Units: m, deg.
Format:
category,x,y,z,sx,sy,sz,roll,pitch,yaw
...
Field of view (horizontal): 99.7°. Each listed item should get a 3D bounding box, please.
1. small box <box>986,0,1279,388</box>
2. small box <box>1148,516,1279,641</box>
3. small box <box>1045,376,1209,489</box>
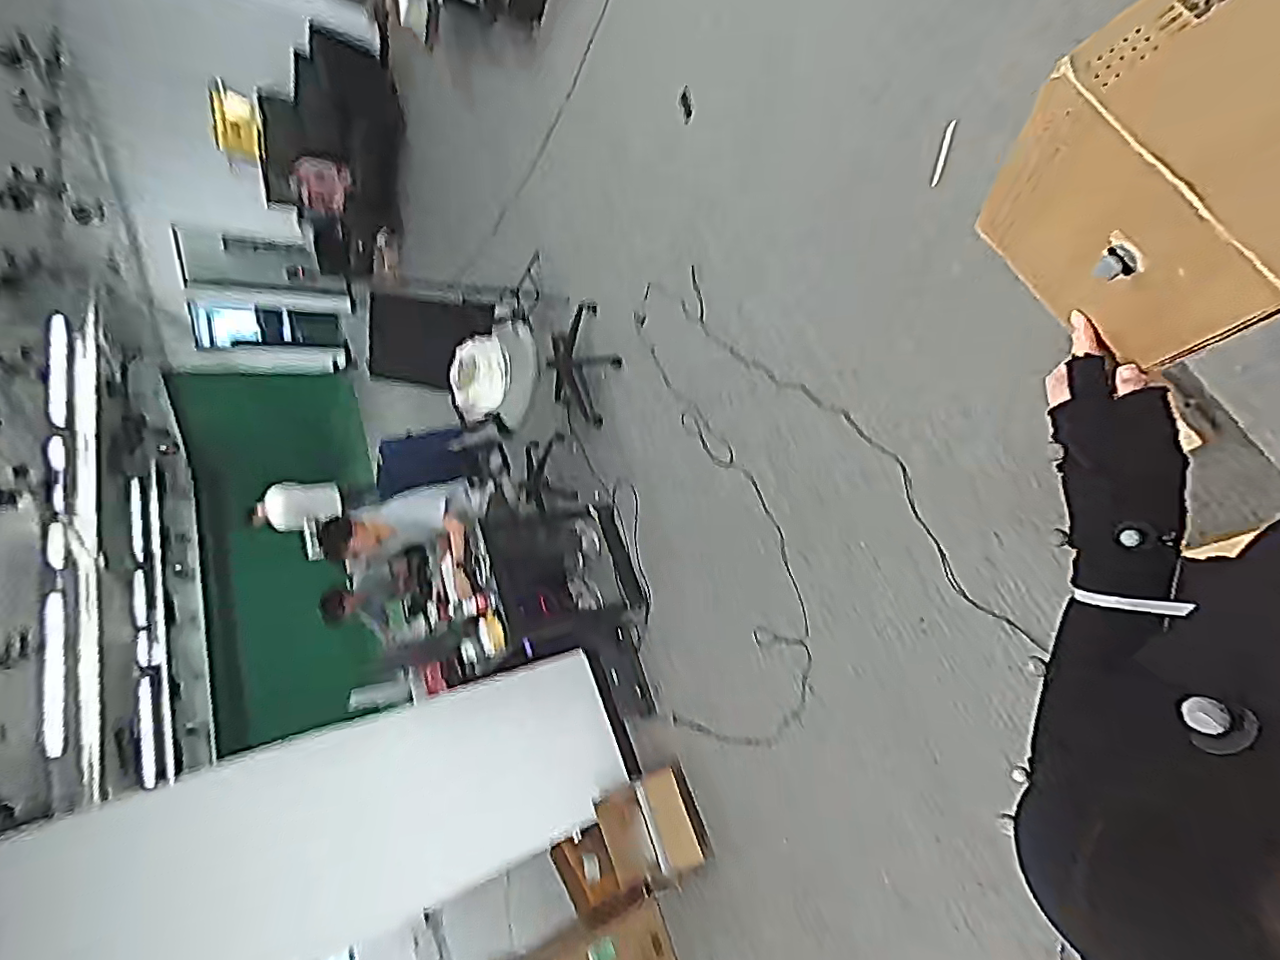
category,x,y,z,sx,sy,sz,roll,pitch,yaw
small box,0.352,-0.187,0.328,0.168,0.179,0.176,-33,77,15
small box,1.114,0.180,1.002,0.179,0.176,0.168,-42,63,48
small box,0.997,-0.098,1.110,0.179,0.176,0.168,-48,59,47
